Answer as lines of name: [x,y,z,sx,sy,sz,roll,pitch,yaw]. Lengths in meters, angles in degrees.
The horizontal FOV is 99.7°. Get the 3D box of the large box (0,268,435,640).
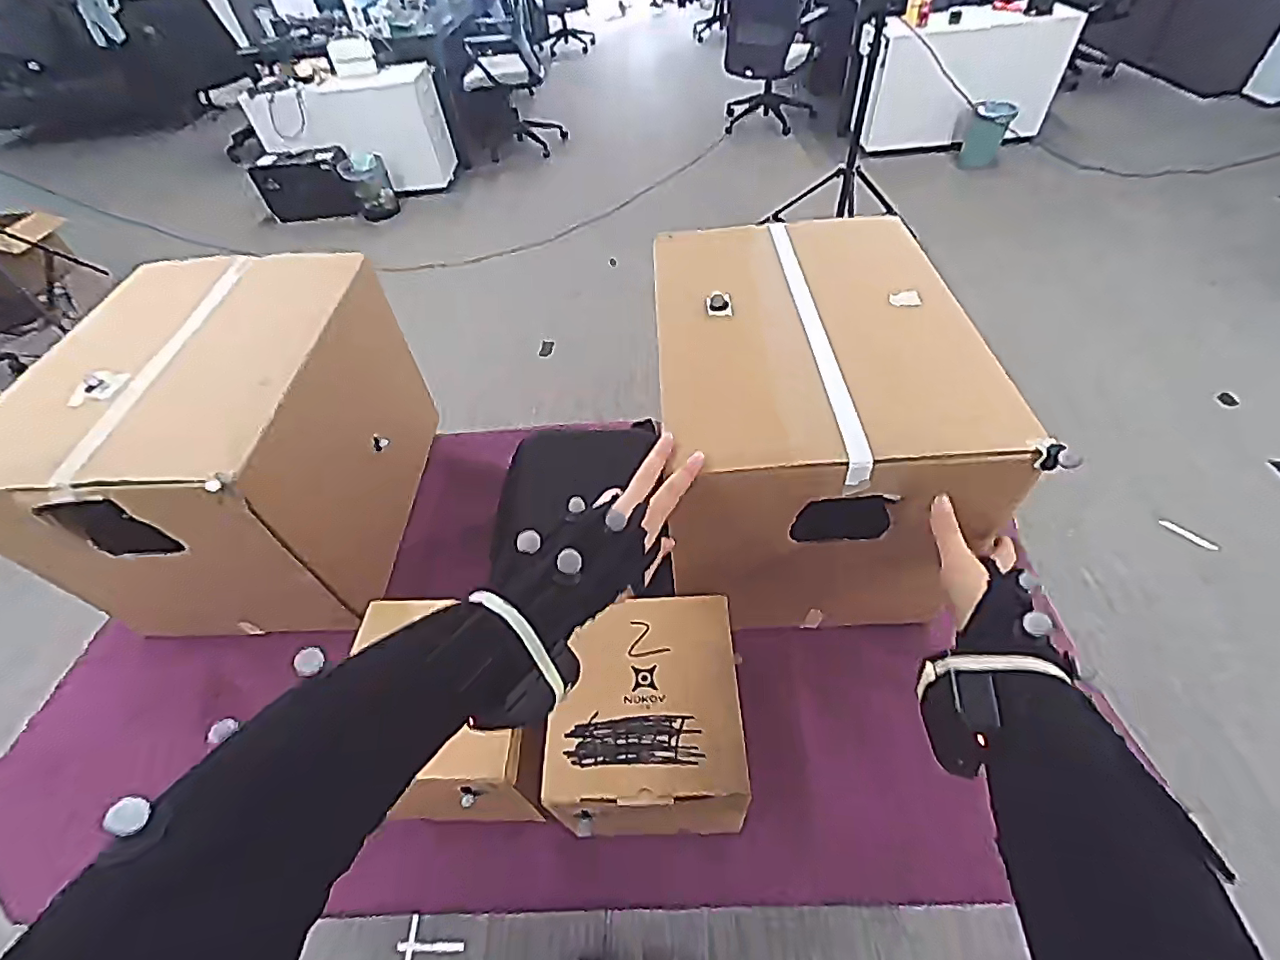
large box: [-0.509,-0.037,0.733,0.320,0.320,0.408,-3,51,1]
